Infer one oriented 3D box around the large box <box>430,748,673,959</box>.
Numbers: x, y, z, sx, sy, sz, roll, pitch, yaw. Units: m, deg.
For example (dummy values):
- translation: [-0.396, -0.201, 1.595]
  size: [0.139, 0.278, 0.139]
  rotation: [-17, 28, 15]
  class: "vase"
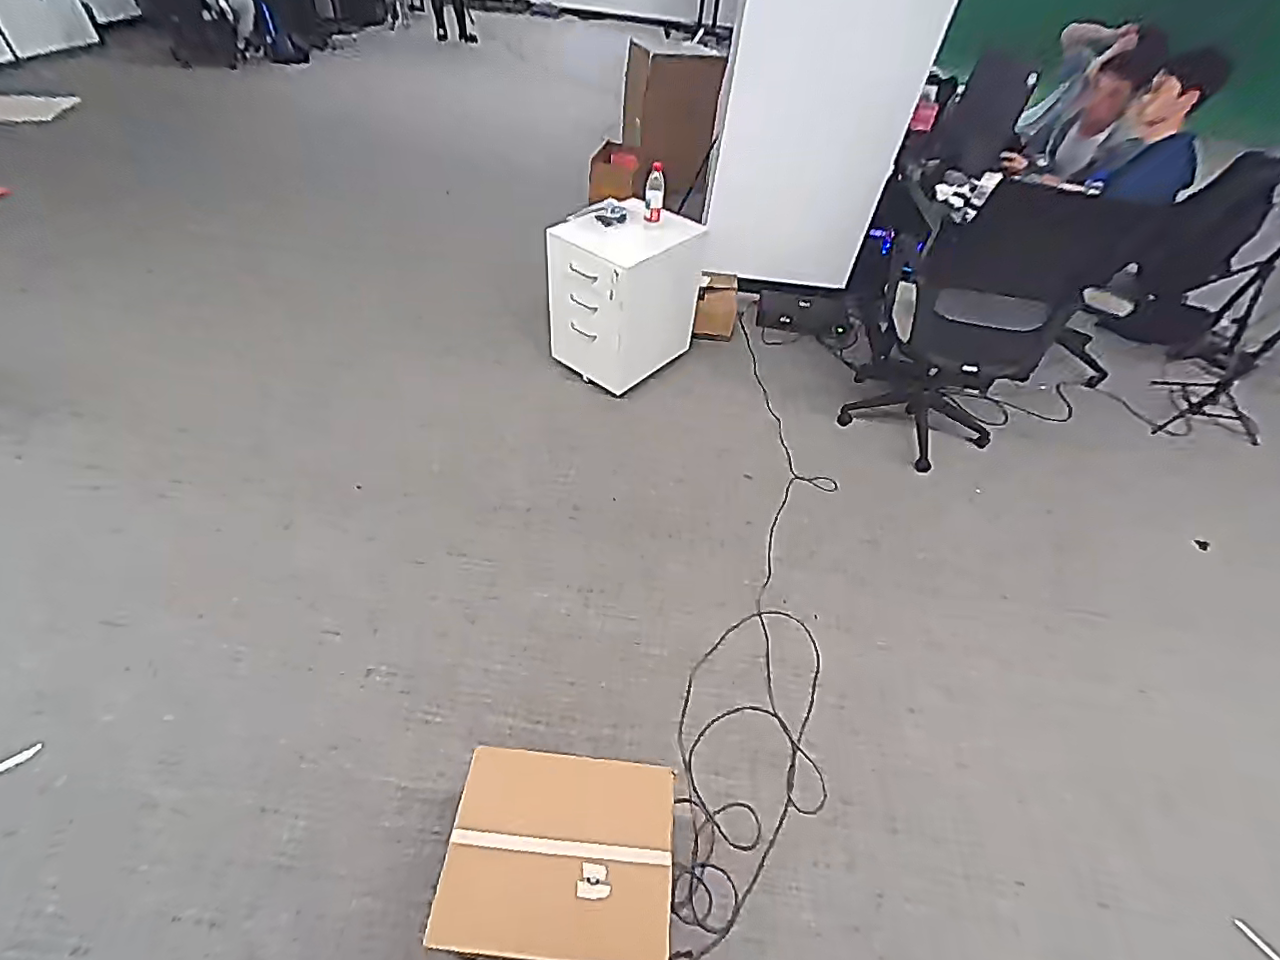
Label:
- translation: [-0.155, 0.776, 1.097]
  size: [0.408, 0.320, 0.320]
  rotation: [7, 47, 0]
  class: "large box"
